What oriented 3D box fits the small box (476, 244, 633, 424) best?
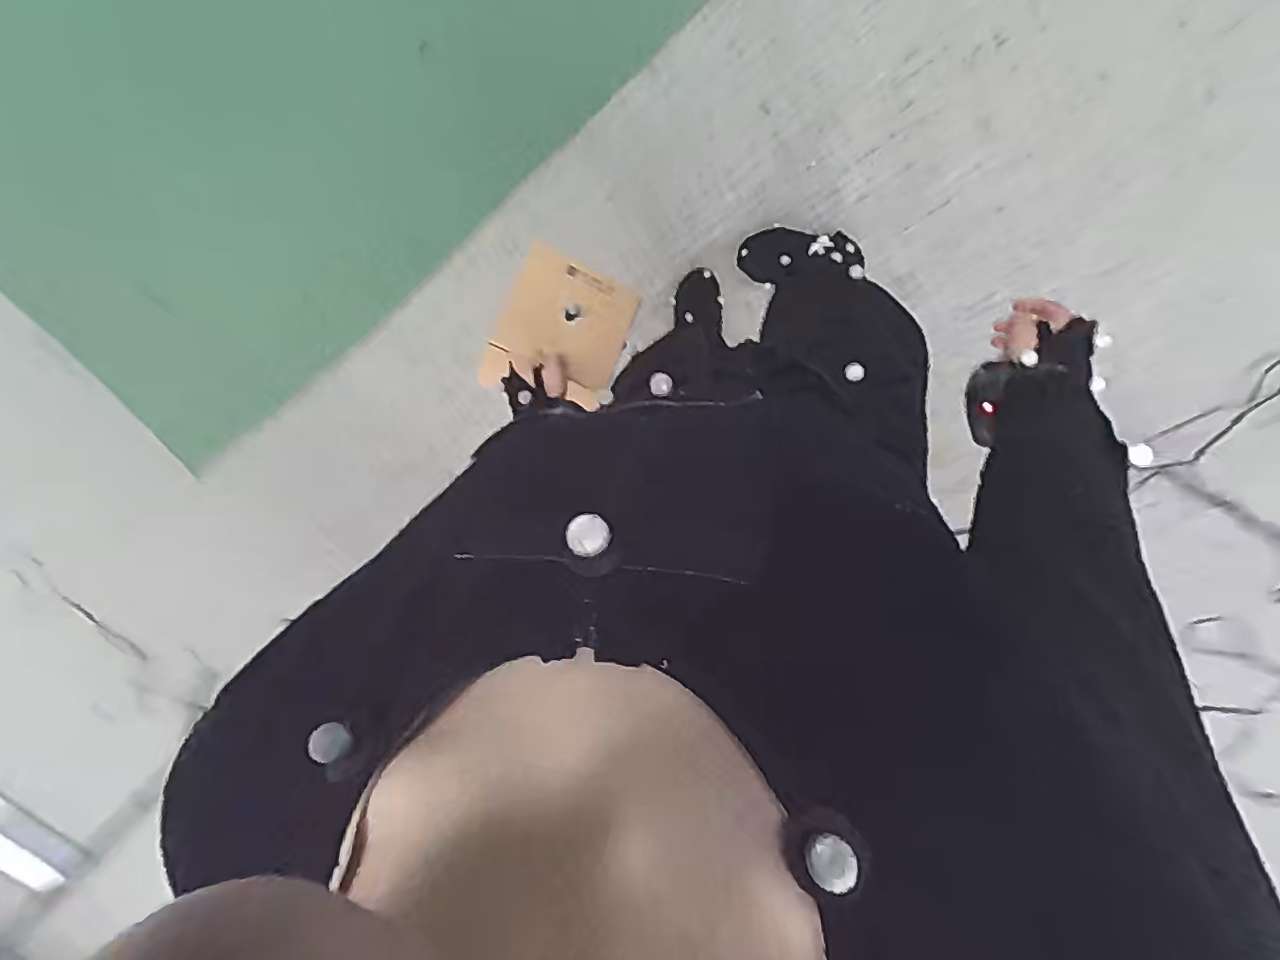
[{"bbox_3d":[-0.125,-0.209,0.802,0.168,0.176,0.179,24,164,-17],"label":"small box"}]
